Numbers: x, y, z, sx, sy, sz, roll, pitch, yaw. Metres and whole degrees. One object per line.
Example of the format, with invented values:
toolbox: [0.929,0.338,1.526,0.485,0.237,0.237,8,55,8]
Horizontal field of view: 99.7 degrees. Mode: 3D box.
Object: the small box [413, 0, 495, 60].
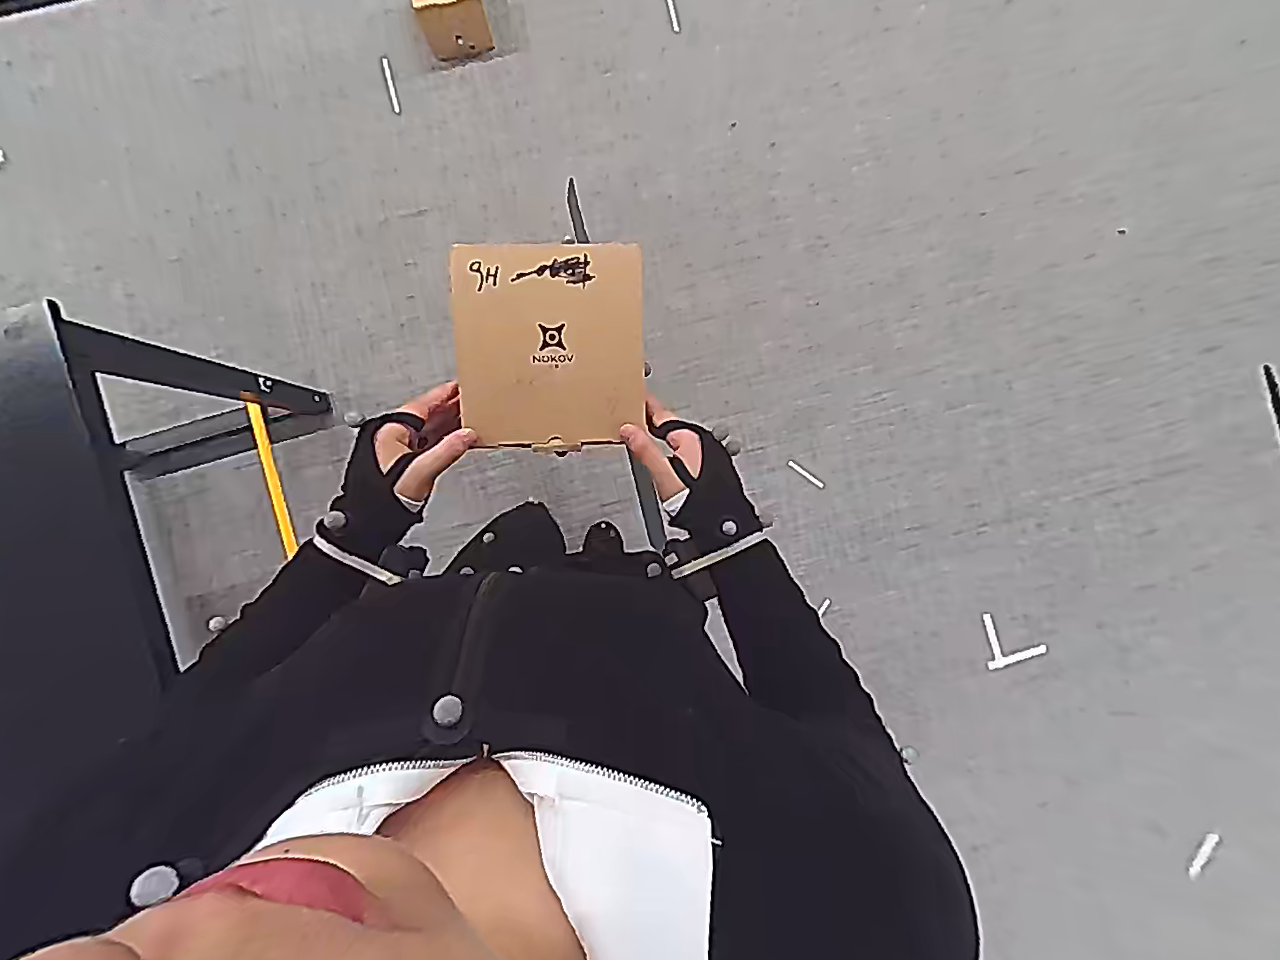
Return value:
small box: [-0.489,-1.243,1.395,0.168,0.176,0.179,-13,91,-2]
